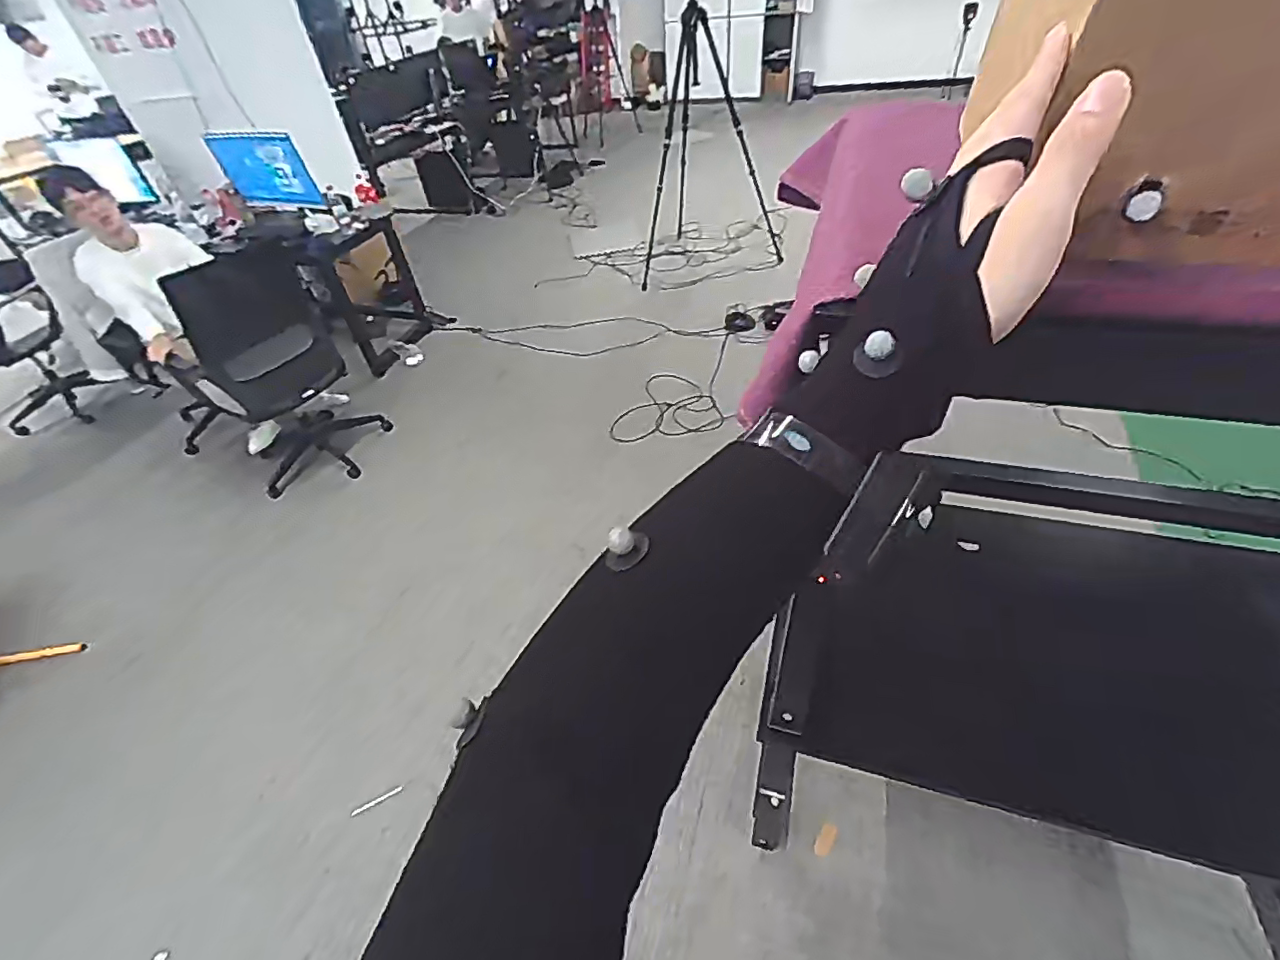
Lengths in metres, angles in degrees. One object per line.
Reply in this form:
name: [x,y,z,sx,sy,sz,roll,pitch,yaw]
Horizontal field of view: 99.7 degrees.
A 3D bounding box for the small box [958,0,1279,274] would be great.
small box: [0.294,-0.242,0.298,0.168,0.176,0.179,8,58,14]
